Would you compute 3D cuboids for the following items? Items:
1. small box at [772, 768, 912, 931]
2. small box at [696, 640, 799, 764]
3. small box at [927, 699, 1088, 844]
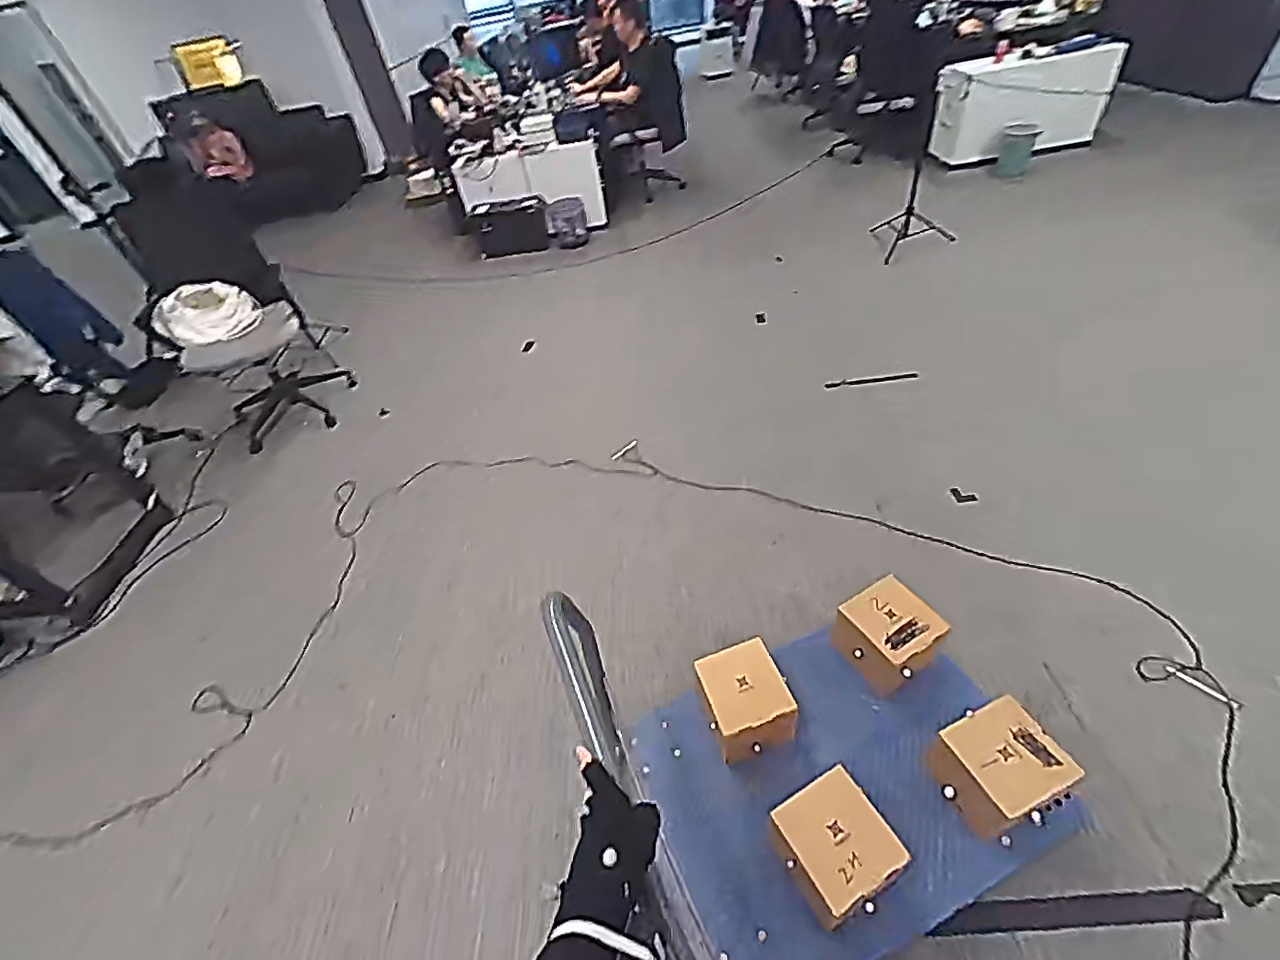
[{"bbox_3d":[0.358,0.680,0.996,0.168,0.176,0.179,-25,45,-14],"label":"small box"},{"bbox_3d":[0.235,0.498,1.213,0.168,0.176,0.179,-18,45,-8],"label":"small box"},{"bbox_3d":[0.694,0.565,1.047,0.179,0.176,0.168,-22,44,-9],"label":"small box"}]
